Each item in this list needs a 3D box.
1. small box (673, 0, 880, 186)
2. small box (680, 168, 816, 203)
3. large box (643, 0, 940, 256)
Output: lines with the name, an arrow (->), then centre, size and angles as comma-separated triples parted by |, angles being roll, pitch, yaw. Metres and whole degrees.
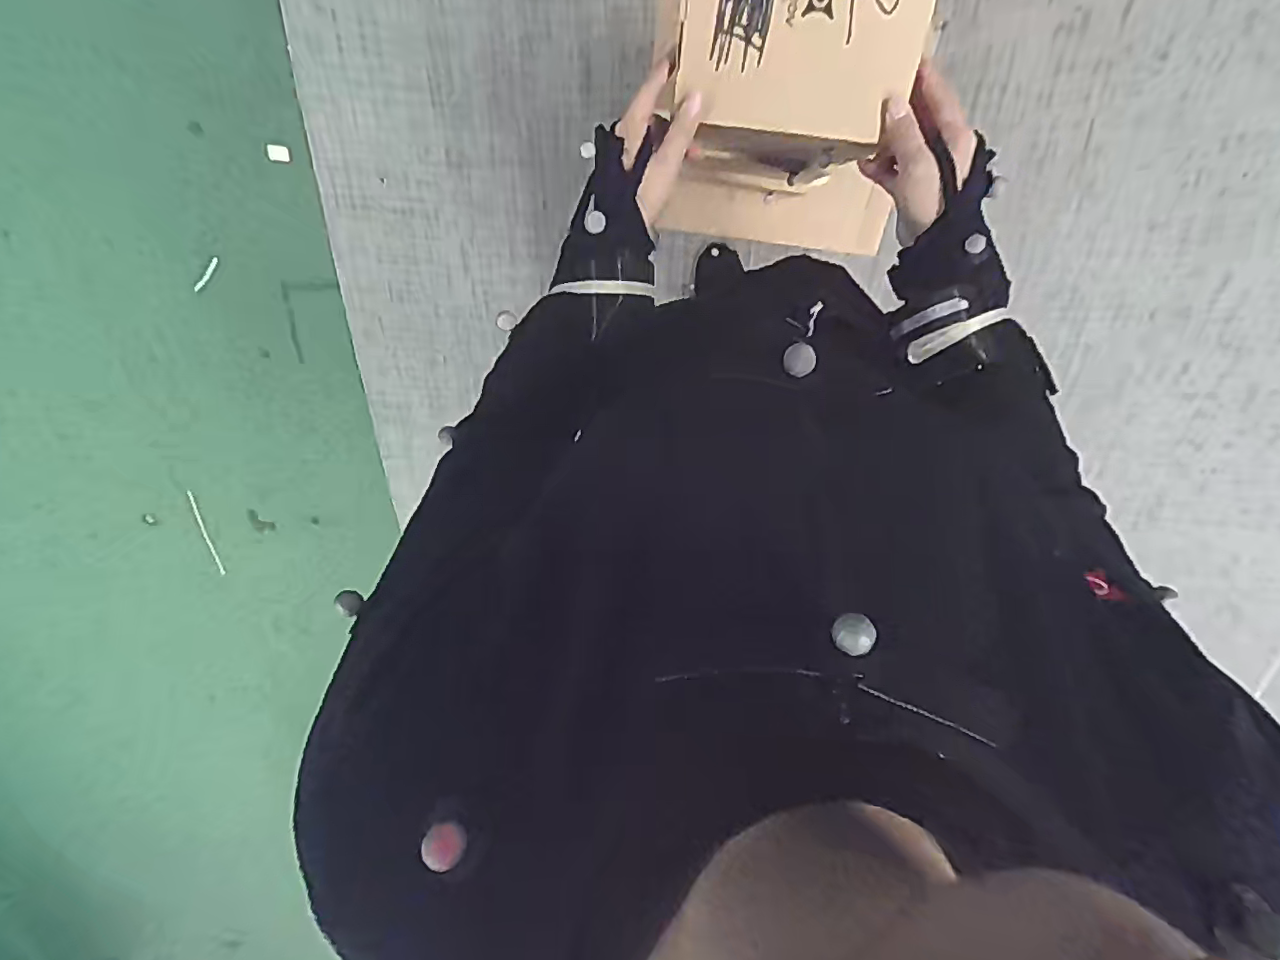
small box -> 0.136, -0.431, 0.600 | 0.179, 0.176, 0.168 | 8, 115, 2
small box -> 0.157, -0.487, 0.751 | 0.179, 0.176, 0.168 | 9, 115, 3
large box -> 0.223, -0.593, 0.963 | 0.408, 0.320, 0.320 | 7, 117, 1
